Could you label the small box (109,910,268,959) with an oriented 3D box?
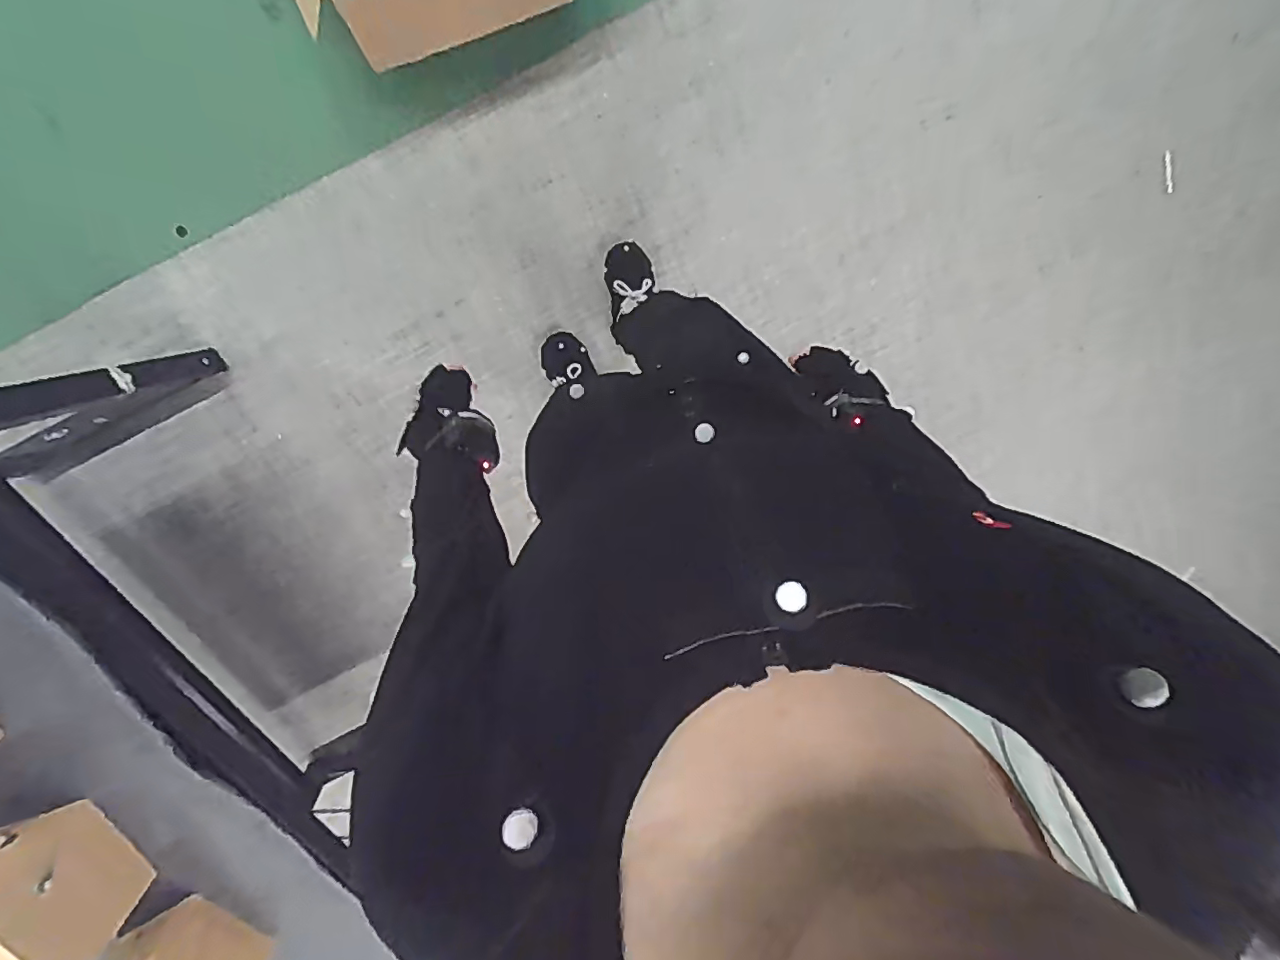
[{"bbox_3d":[-0.726,0.805,0.820,0.168,0.176,0.179,-32,111,3],"label":"small box"}]
